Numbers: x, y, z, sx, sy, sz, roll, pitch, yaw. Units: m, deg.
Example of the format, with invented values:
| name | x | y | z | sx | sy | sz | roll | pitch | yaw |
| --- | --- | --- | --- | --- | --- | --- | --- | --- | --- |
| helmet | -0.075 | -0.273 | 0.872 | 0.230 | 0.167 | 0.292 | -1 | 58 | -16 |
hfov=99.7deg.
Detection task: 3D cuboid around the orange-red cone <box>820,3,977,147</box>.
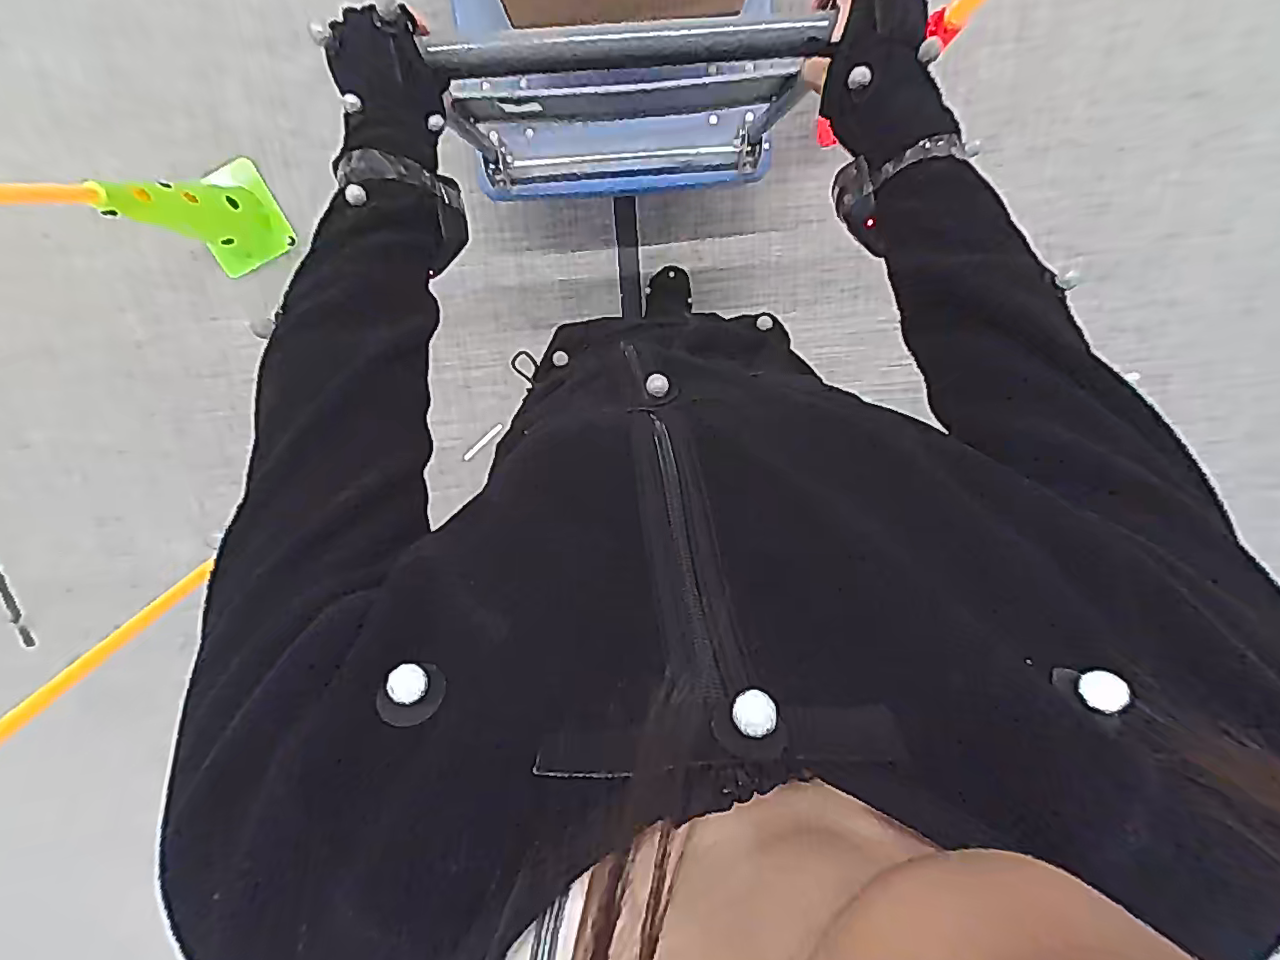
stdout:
| name | x | y | z | sx | sy | sz | roll | pitch | yaw |
| --- | --- | --- | --- | --- | --- | --- | --- | --- | --- |
| orange-red cone | 0.500 | -0.773 | 0.998 | 0.199 | 0.360 | 0.198 | 1 | 109 | -2 |
